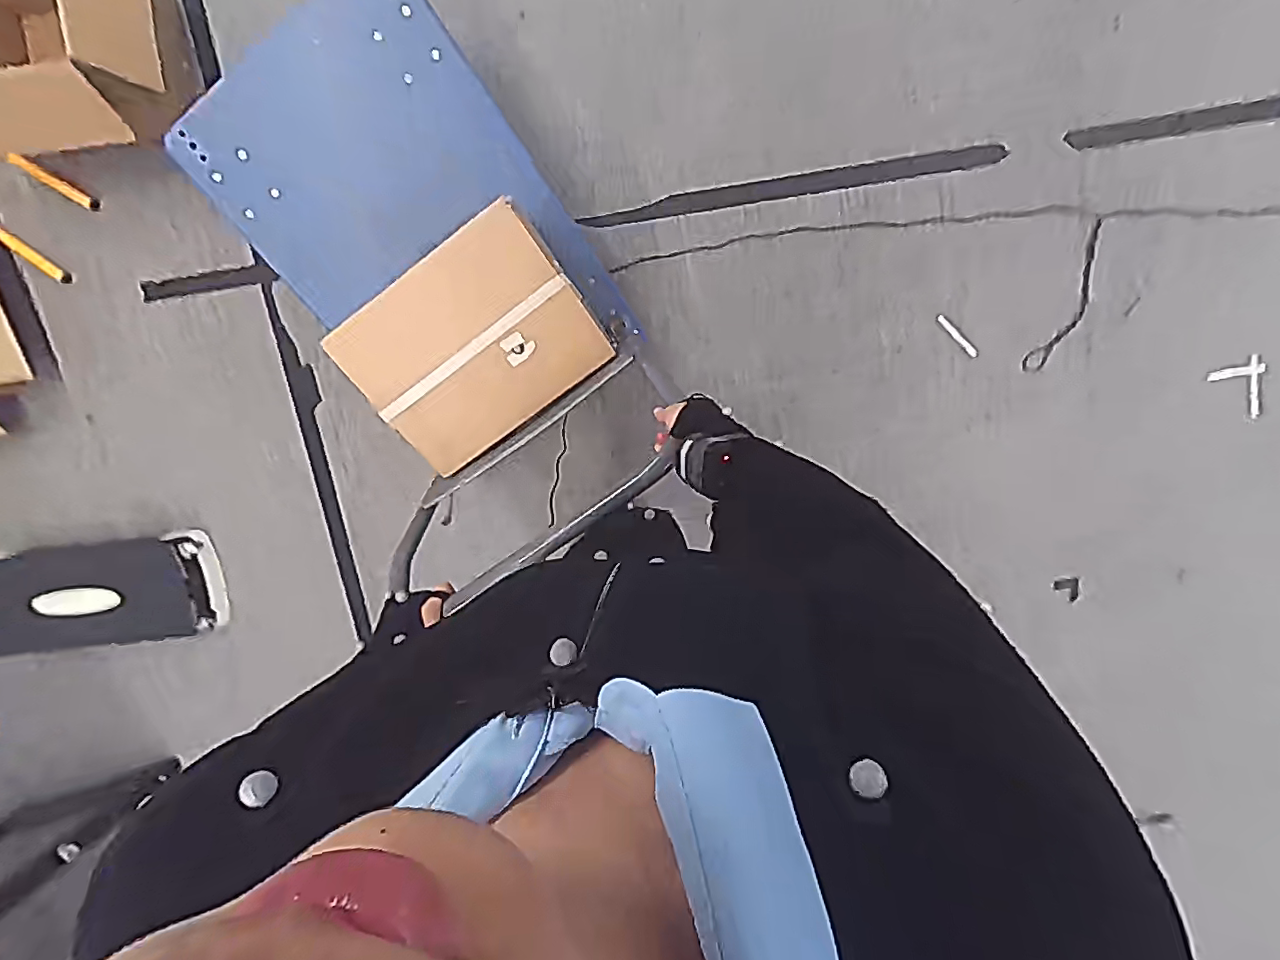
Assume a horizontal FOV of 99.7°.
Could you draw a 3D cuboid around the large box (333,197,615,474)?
[{"bbox_3d":[-0.305,-0.285,1.093,0.408,0.320,0.320,-36,111,7],"label":"large box"}]
